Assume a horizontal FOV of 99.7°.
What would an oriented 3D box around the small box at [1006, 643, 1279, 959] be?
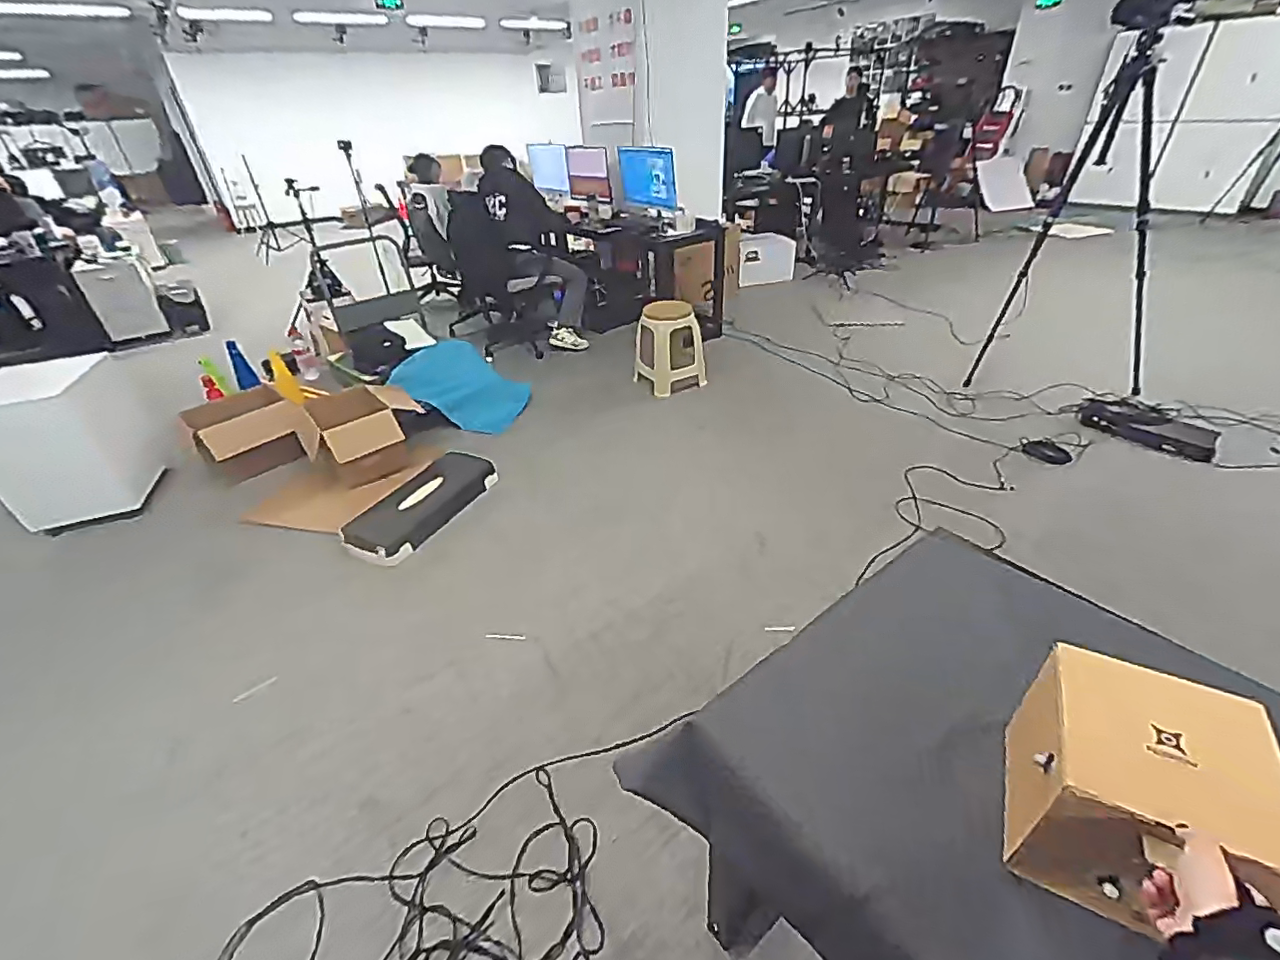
[{"bbox_3d":[0.481,0.304,0.530,0.168,0.176,0.179,16,39,25],"label":"small box"}]
